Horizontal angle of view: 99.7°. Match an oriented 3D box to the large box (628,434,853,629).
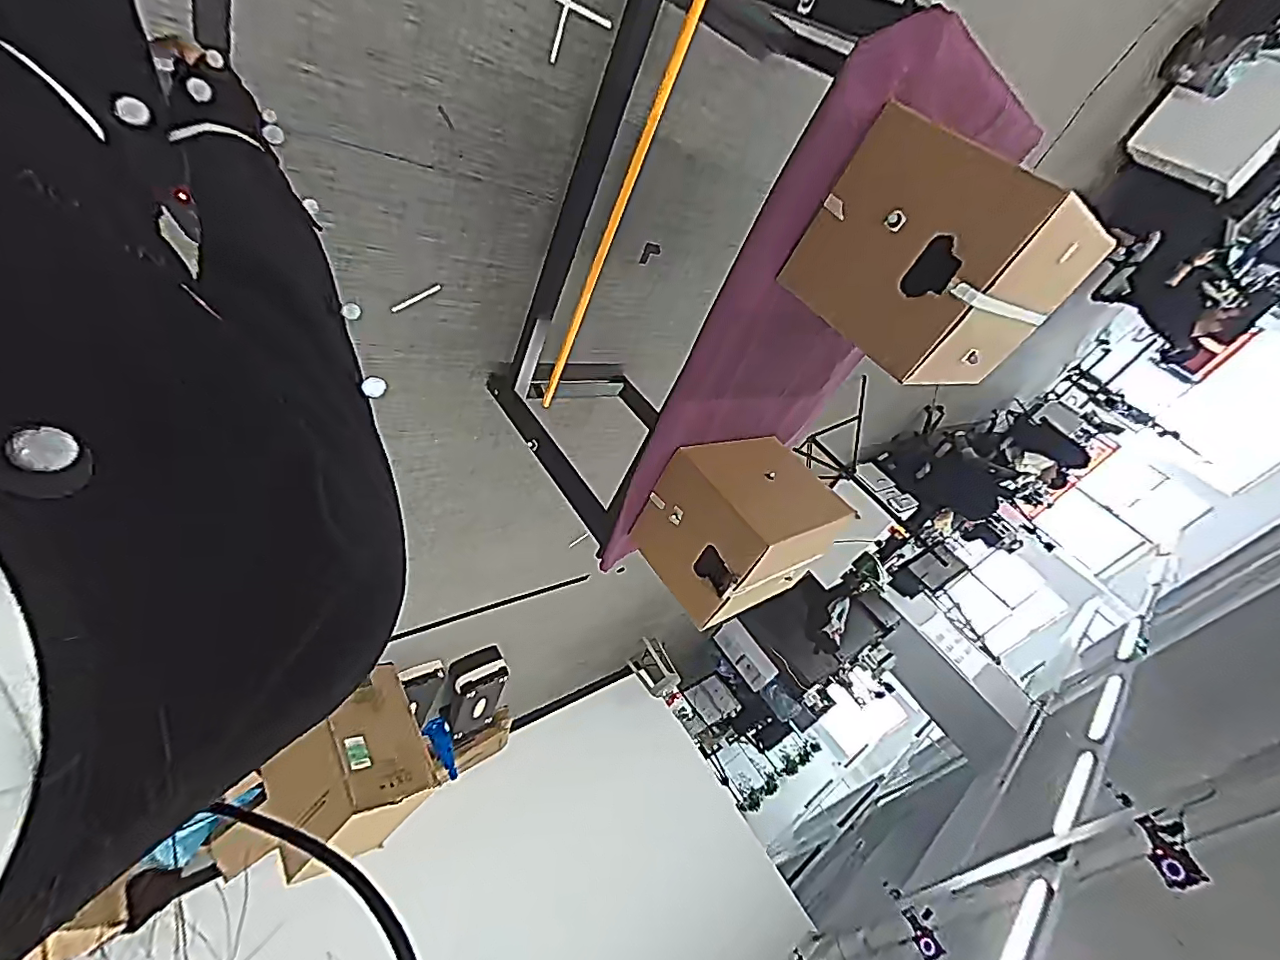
[{"bbox_3d":[0.245,0.108,1.371,0.408,0.320,0.320,-11,142,-43],"label":"large box"}]
